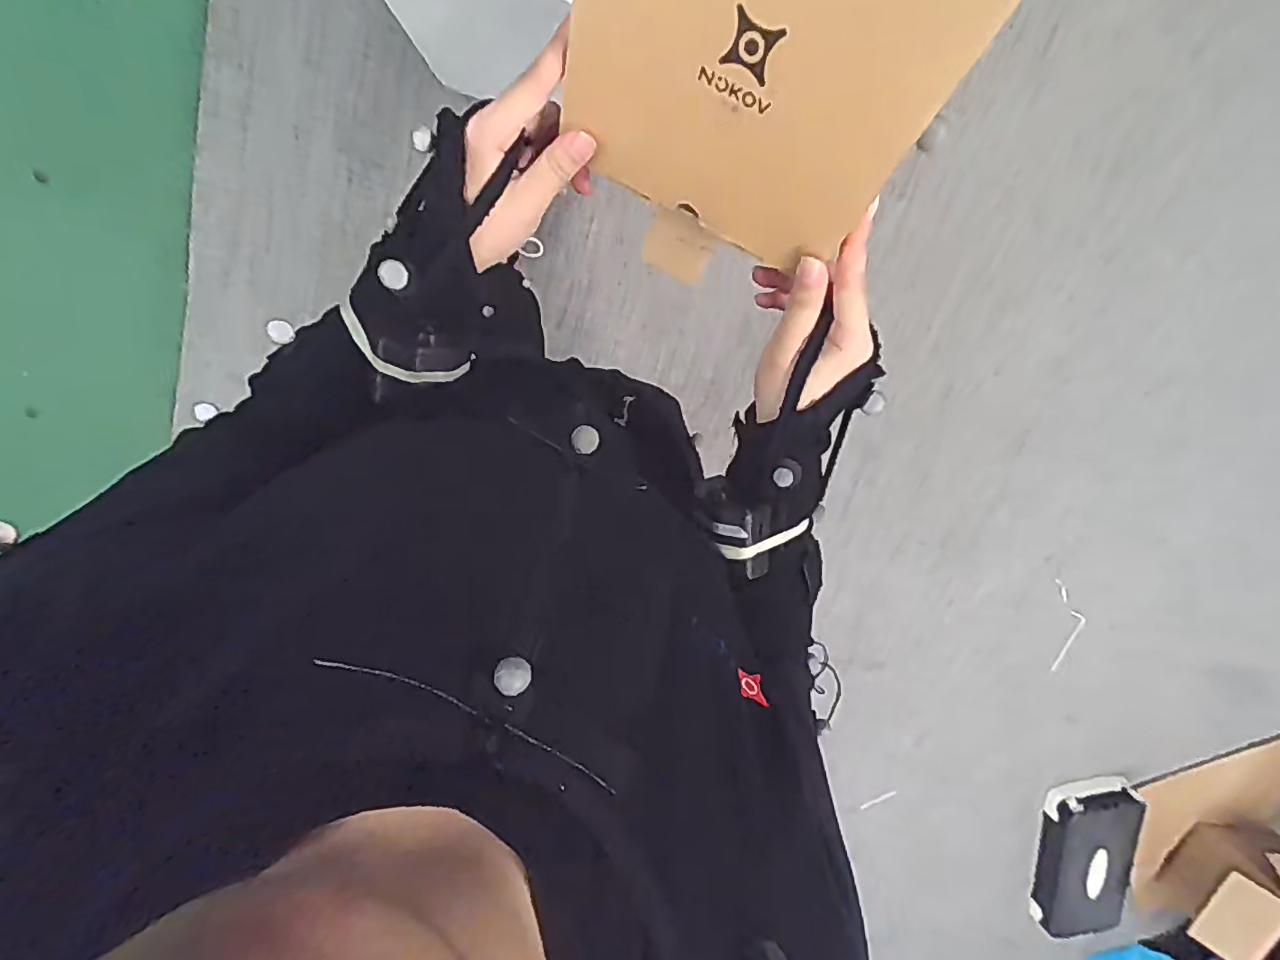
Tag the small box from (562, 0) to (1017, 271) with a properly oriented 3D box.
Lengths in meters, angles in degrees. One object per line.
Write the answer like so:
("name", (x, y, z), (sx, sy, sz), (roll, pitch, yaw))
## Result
("small box", (0.079, -0.252, 0.265), (0.168, 0.179, 0.176), (27, 64, -2))
